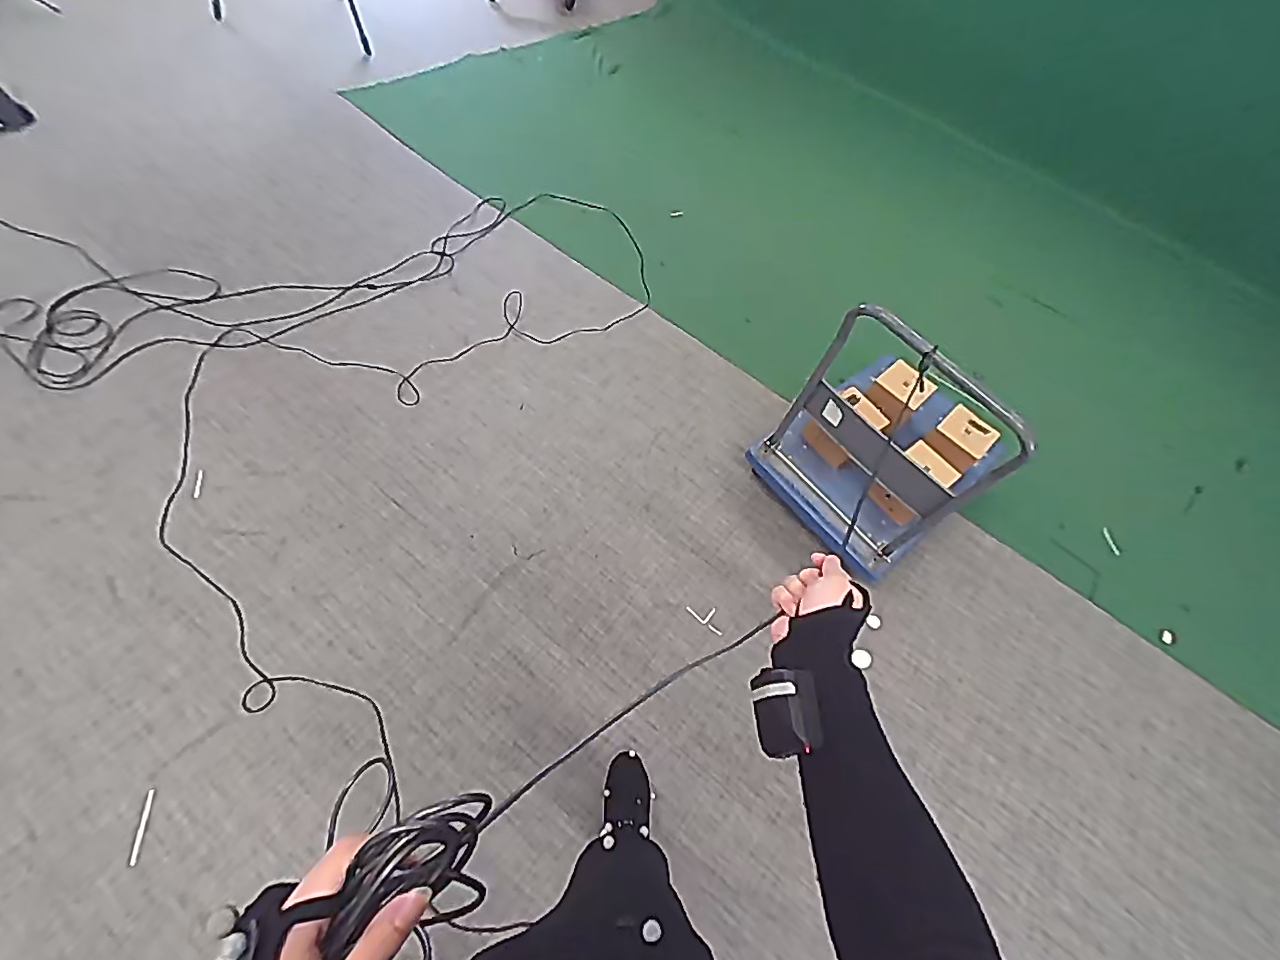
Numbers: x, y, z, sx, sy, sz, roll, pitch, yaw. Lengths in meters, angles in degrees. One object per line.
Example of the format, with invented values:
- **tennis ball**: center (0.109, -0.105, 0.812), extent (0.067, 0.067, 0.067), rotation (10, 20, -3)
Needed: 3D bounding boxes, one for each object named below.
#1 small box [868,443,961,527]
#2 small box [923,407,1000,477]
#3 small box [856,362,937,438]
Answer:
- **small box**: center (0.872, 0.019, 1.736), extent (0.179, 0.176, 0.168), rotation (-31, 69, -26)
- **small box**: center (1.078, -0.112, 1.855), extent (0.179, 0.176, 0.168), rotation (-36, 70, -27)
- **small box**: center (0.905, -0.280, 1.928), extent (0.179, 0.176, 0.168), rotation (-36, 71, -28)
